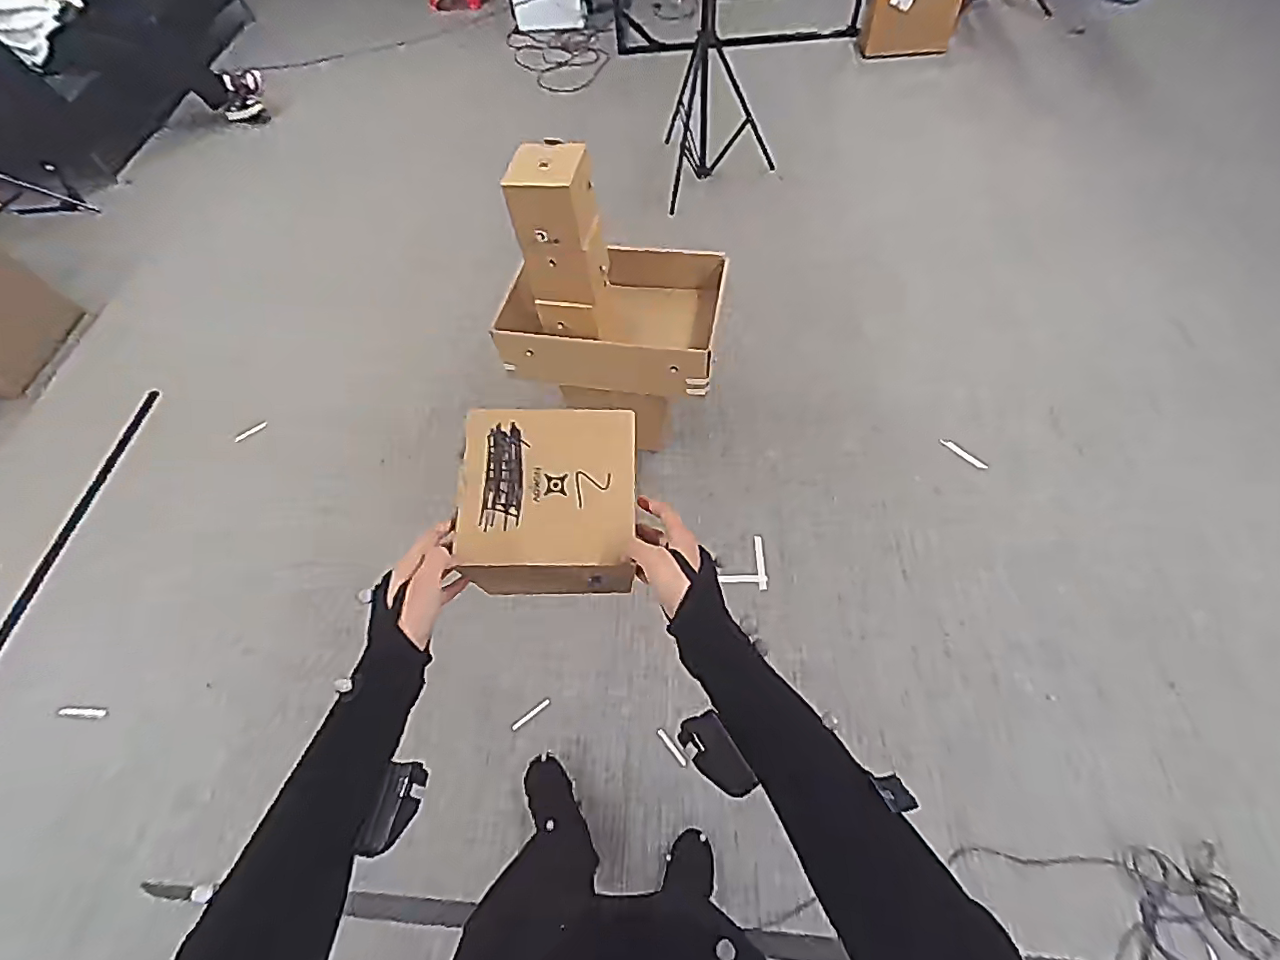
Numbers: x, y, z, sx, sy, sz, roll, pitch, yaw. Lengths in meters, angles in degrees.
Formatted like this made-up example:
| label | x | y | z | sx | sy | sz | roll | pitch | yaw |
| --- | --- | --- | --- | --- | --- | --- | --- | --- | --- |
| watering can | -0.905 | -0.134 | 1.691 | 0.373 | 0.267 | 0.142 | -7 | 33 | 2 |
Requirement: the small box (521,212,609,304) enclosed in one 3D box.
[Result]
| label | x | y | z | sx | sy | sz | roll | pitch | yaw |
| --- | --- | --- | --- | --- | --- | --- | --- | --- | --- |
| small box | -0.190 | -0.590 | 1.433 | 0.179 | 0.176 | 0.168 | 8 | 60 | 9 |

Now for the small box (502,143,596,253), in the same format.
| label | x | y | z | sx | sy | sz | roll | pitch | yaw |
| --- | --- | --- | --- | --- | --- | --- | --- | --- | --- |
| small box | -0.208 | -0.674 | 1.294 | 0.168 | 0.176 | 0.179 | 6 | 59 | 9 |

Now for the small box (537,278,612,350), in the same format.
| label | x | y | z | sx | sy | sz | roll | pitch | yaw |
| --- | --- | --- | --- | --- | --- | --- | --- | --- | --- |
| small box | -0.183 | -0.500 | 1.571 | 0.168 | 0.176 | 0.179 | 7 | 60 | 8 |
